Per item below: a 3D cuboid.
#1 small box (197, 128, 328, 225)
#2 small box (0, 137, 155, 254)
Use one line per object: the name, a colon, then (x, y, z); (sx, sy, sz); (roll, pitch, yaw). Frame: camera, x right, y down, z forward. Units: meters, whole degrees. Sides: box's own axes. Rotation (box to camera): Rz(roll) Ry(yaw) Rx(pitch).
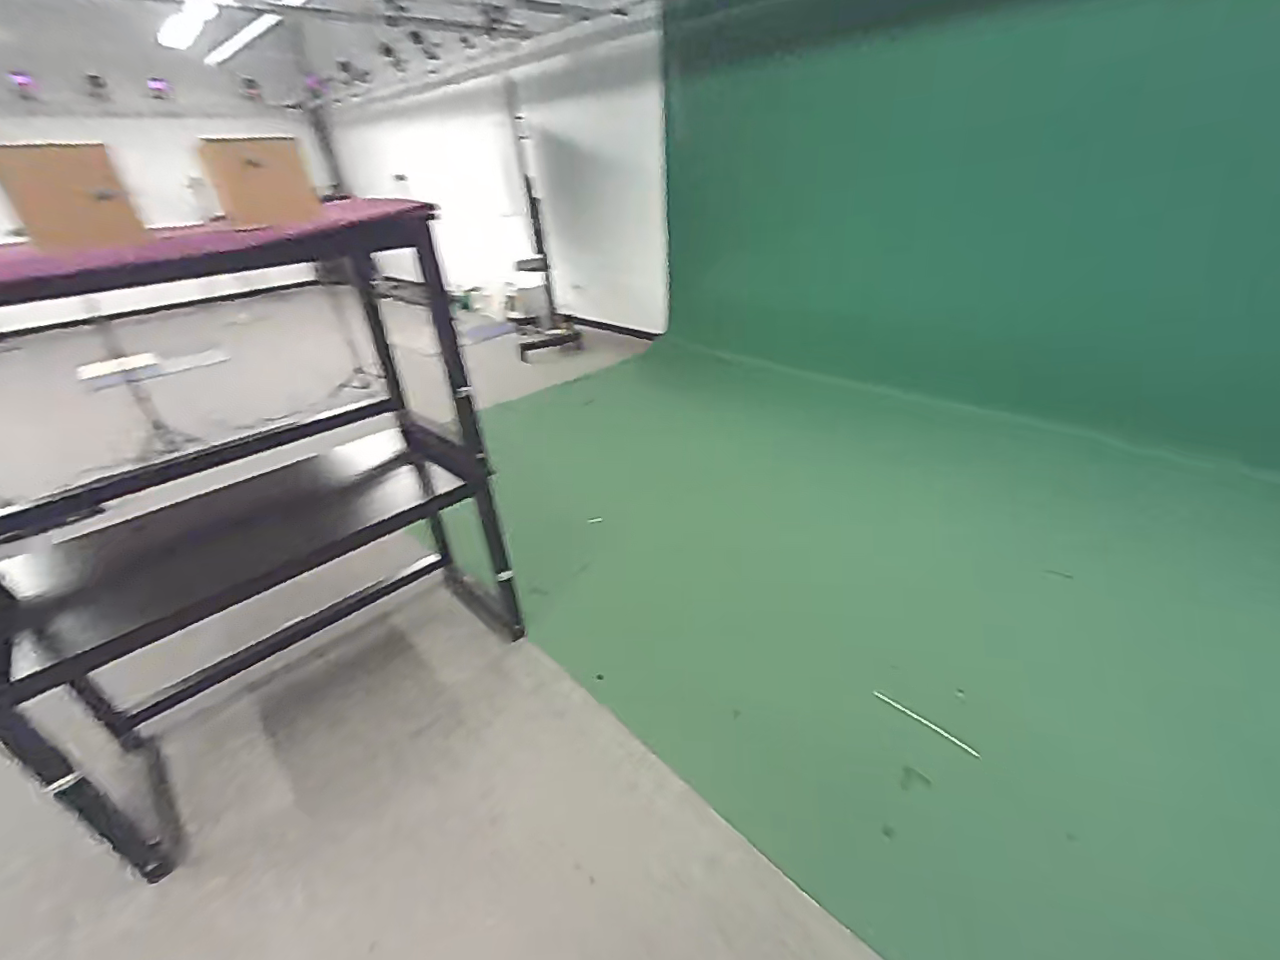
small box: (-0.834, -0.668, 1.201); (0.179, 0.176, 0.168); (-28, 37, -34)
small box: (-1.044, -0.528, 1.000); (0.168, 0.176, 0.179); (24, 42, 38)
